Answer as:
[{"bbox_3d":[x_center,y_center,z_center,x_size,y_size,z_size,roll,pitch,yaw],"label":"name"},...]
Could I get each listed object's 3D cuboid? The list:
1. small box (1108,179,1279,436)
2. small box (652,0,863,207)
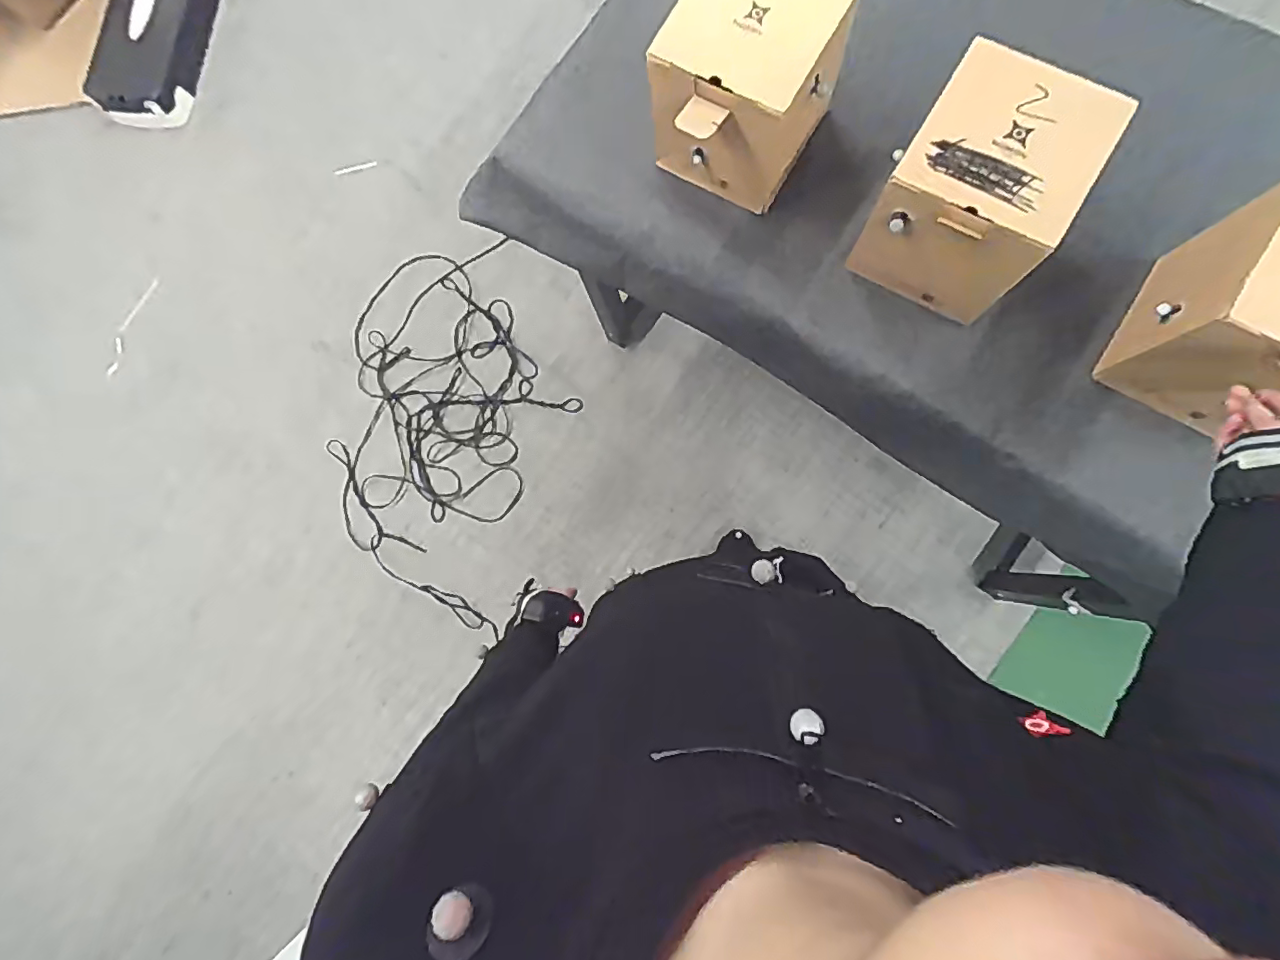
[{"bbox_3d":[0.636,-0.165,0.545,0.168,0.176,0.179,31,86,8],"label":"small box"},{"bbox_3d":[0.129,-0.472,0.638,0.168,0.176,0.179,30,87,8],"label":"small box"}]
